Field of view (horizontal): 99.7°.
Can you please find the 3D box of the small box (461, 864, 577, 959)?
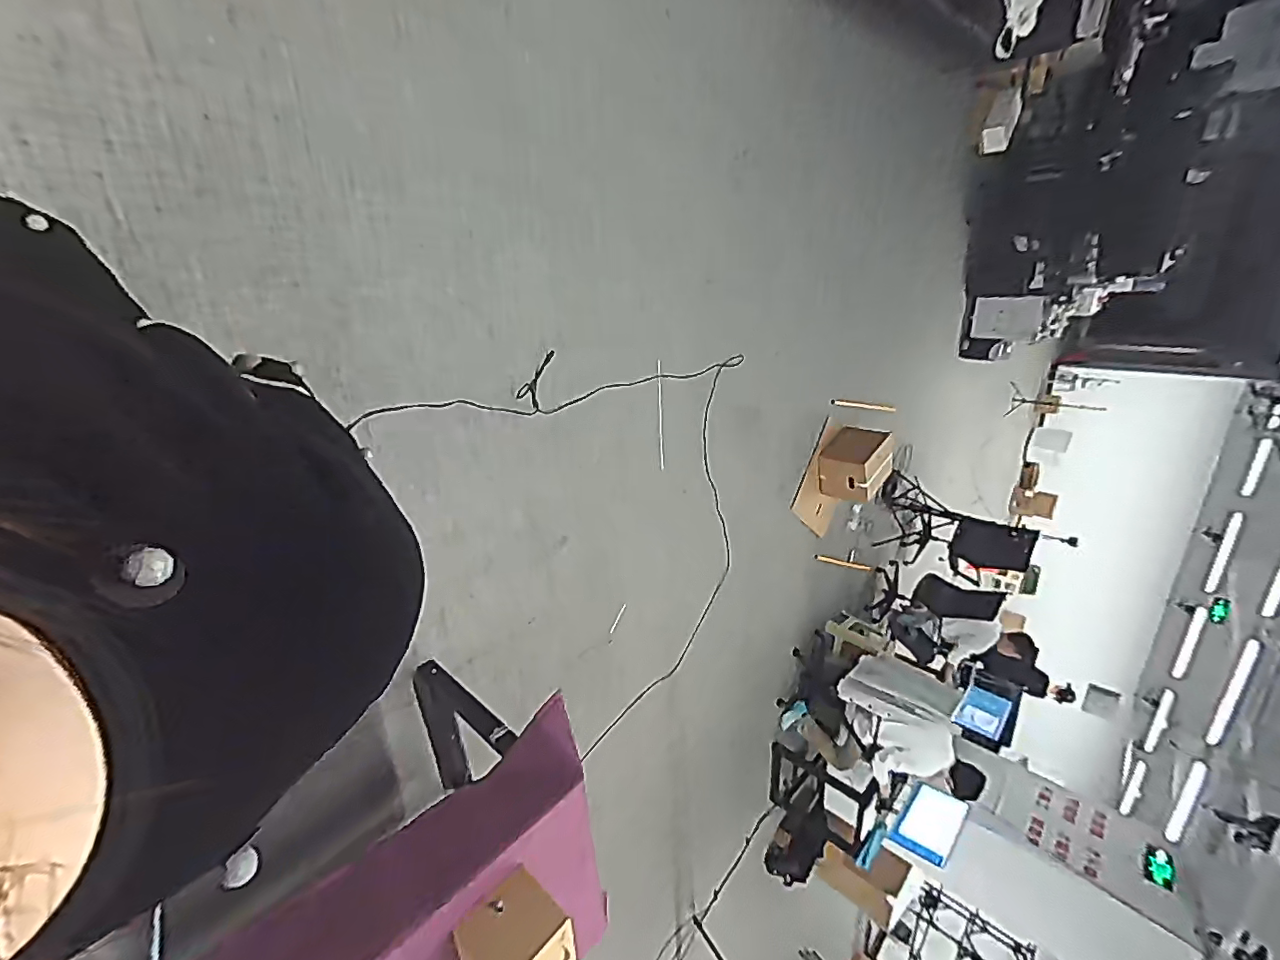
[{"bbox_3d":[-0.255,0.967,1.127,0.179,0.176,0.168,-22,119,-40],"label":"small box"}]
